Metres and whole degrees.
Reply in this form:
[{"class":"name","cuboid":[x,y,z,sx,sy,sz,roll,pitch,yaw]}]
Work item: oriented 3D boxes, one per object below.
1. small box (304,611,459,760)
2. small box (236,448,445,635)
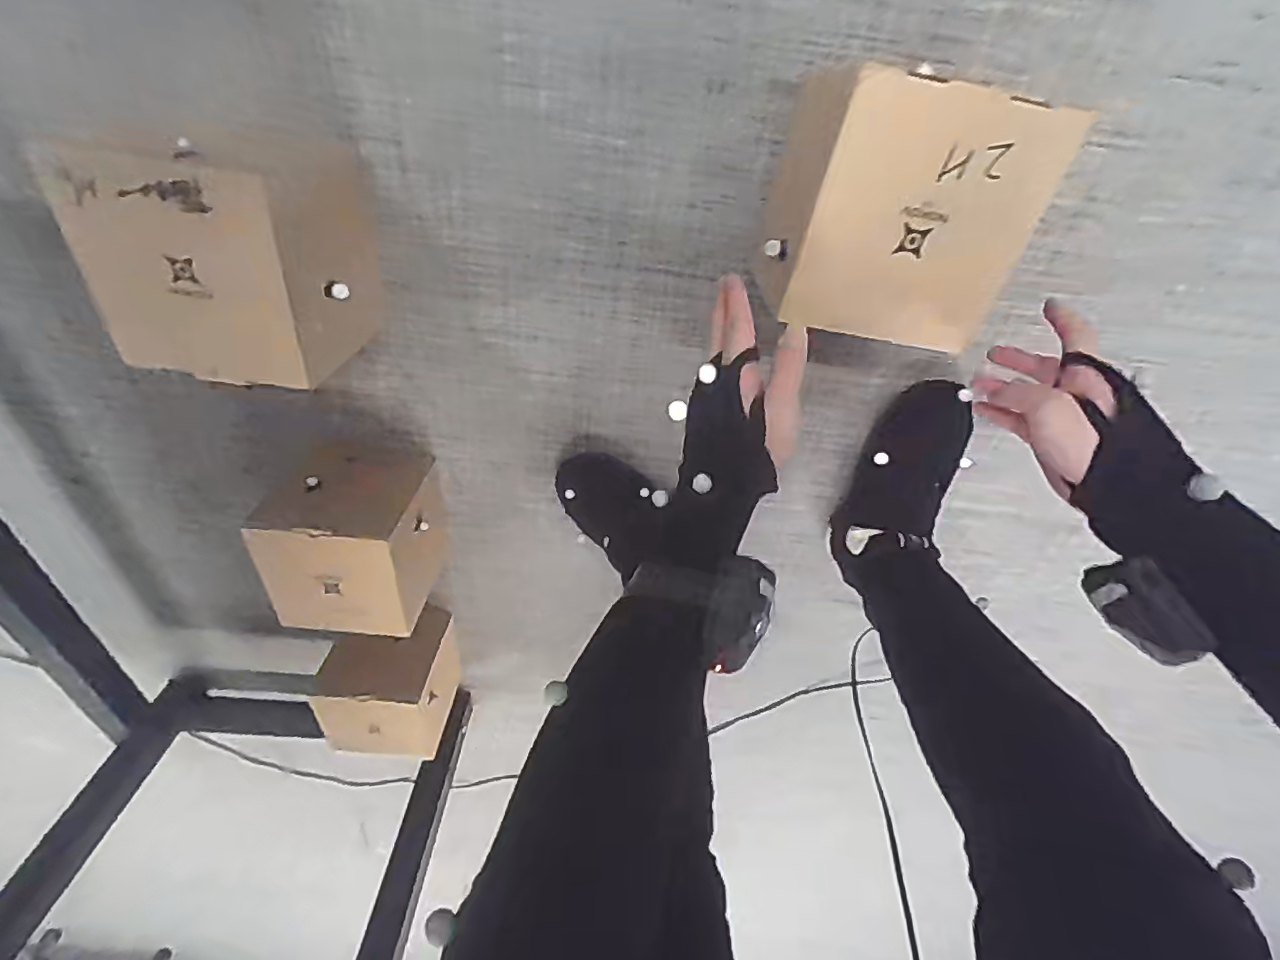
[{"class":"small box","cuboid":[-0.413,0.336,0.901,0.168,0.176,0.179,5,126,-1]},{"class":"small box","cuboid":[-0.371,0.076,0.710,0.168,0.176,0.179,6,127,-2]}]
